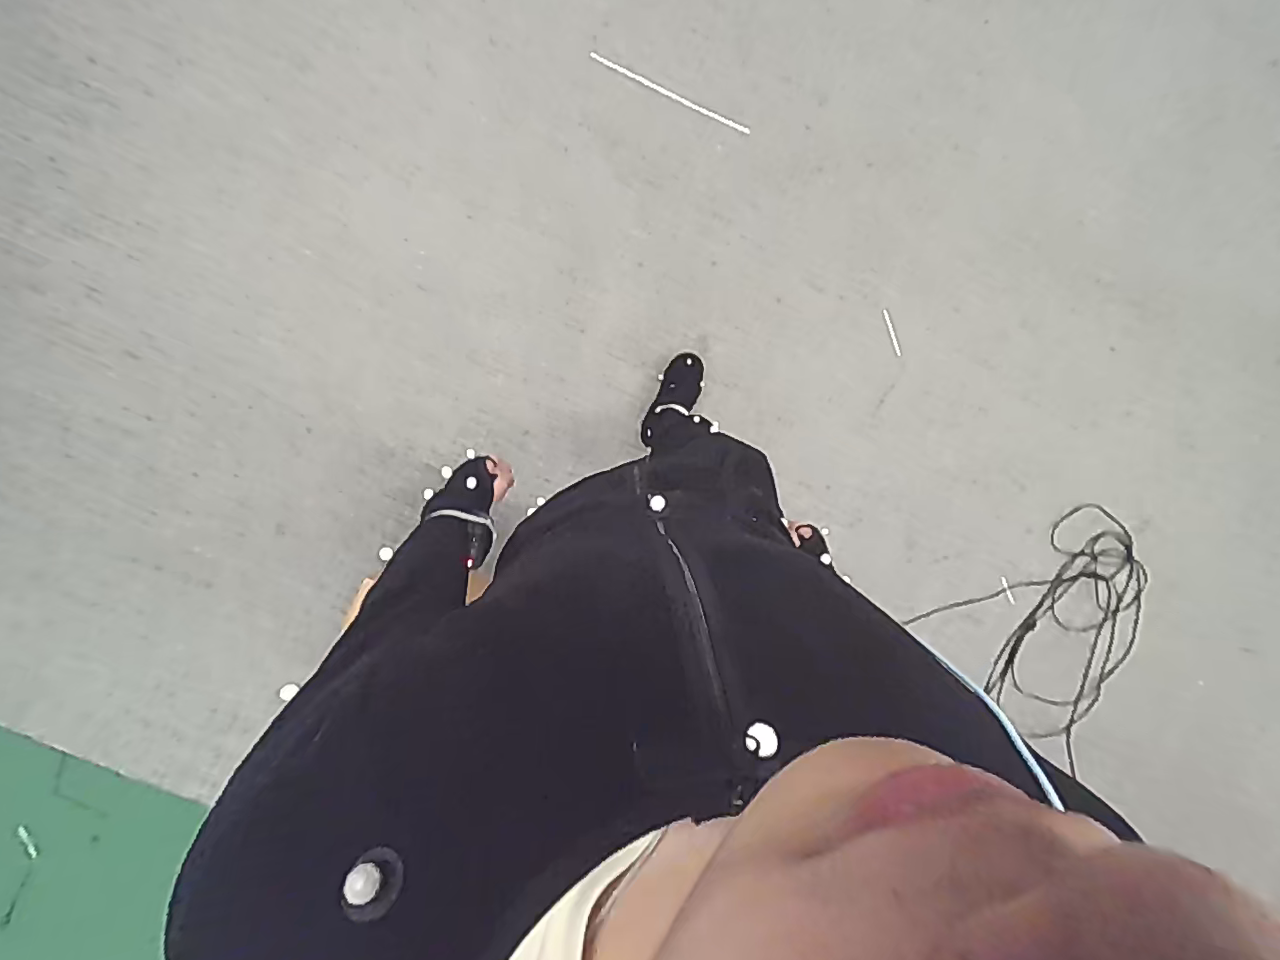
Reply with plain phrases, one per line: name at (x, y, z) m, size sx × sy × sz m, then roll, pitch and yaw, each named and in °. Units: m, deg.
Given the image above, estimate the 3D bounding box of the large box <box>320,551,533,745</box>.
large box at (-0.563, 0.445, 1.502) m, size 0.408 × 0.320 × 0.320 m, roll 26°, pitch 95°, yaw -3°
